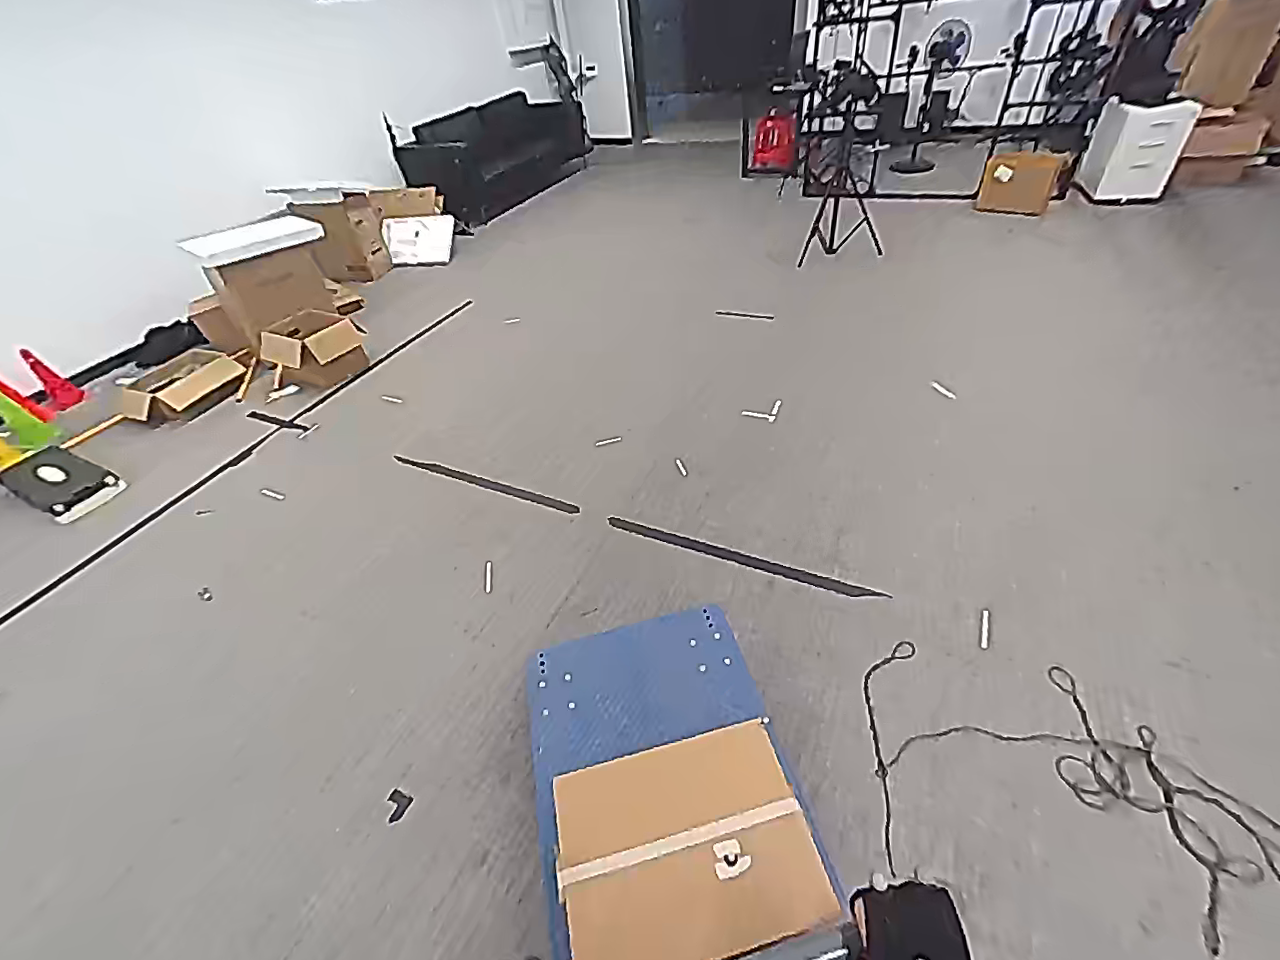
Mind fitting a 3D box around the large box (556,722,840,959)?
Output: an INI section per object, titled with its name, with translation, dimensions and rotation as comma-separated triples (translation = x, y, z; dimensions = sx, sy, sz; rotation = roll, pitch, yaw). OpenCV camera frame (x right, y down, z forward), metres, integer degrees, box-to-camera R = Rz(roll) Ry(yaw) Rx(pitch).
[large box]
translation = 0.086, 0.713, 0.988
dimensions = 0.408, 0.320, 0.320
rotation = -13, 42, -7
